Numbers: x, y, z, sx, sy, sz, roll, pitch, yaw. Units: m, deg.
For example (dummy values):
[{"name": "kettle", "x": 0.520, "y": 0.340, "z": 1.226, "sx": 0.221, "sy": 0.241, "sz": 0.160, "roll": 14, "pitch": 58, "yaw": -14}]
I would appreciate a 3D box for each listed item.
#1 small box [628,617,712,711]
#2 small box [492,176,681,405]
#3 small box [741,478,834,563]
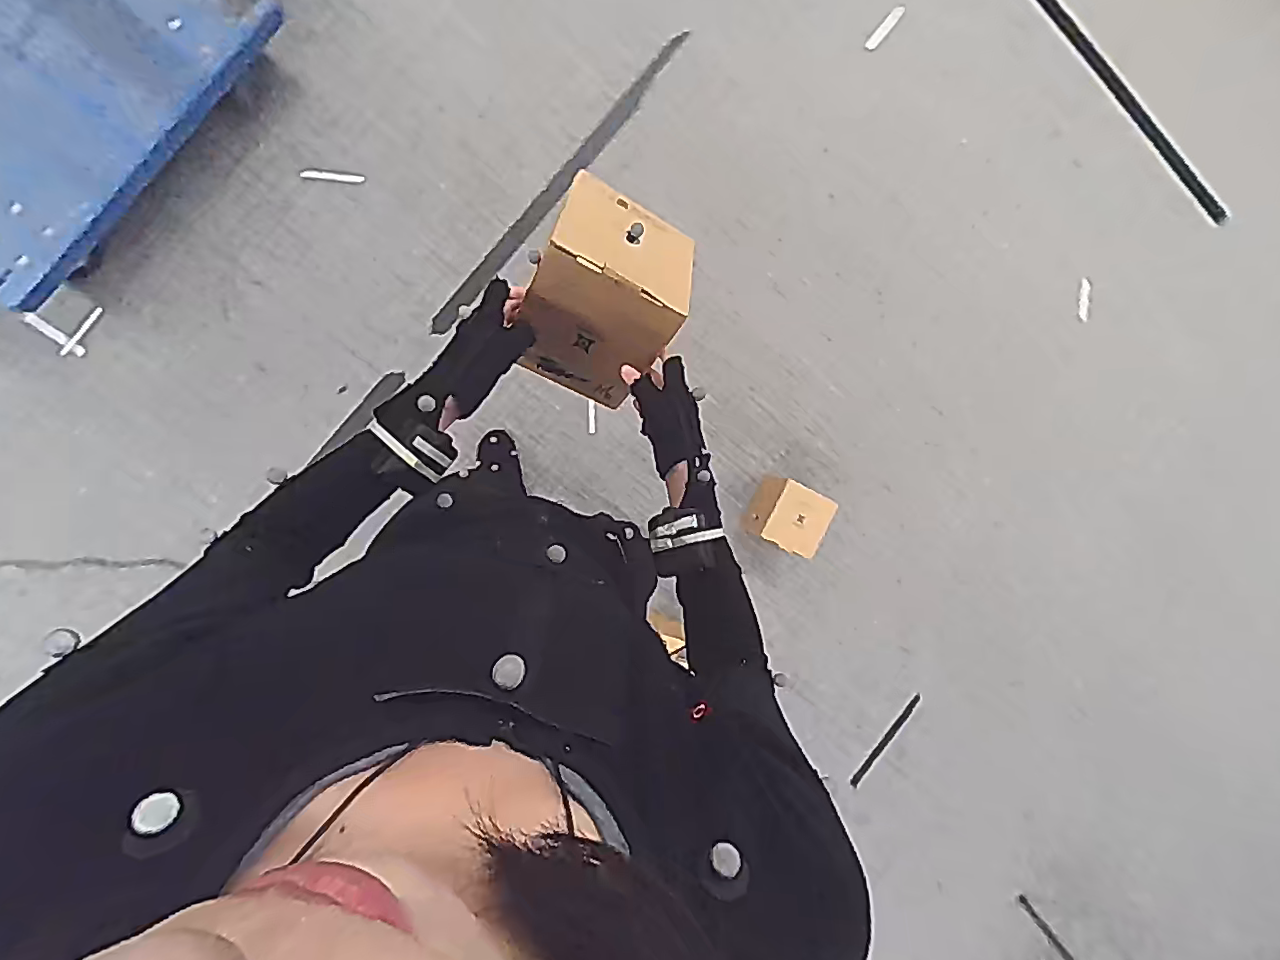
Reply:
[{"name": "small box", "x": 0.076, "y": 0.507, "z": 1.517, "sx": 0.168, "sy": 0.176, "sz": 0.179, "roll": 21, "pitch": 92, "yaw": -10}, {"name": "small box", "x": -0.063, "y": -0.233, "z": 0.672, "sx": 0.168, "sy": 0.179, "sz": 0.176, "roll": 23, "pitch": 48, "yaw": -19}, {"name": "small box", "x": 0.407, "y": 0.109, "z": 1.535, "sx": 0.168, "sy": 0.176, "sz": 0.179, "roll": 26, "pitch": 90, "yaw": -11}]
